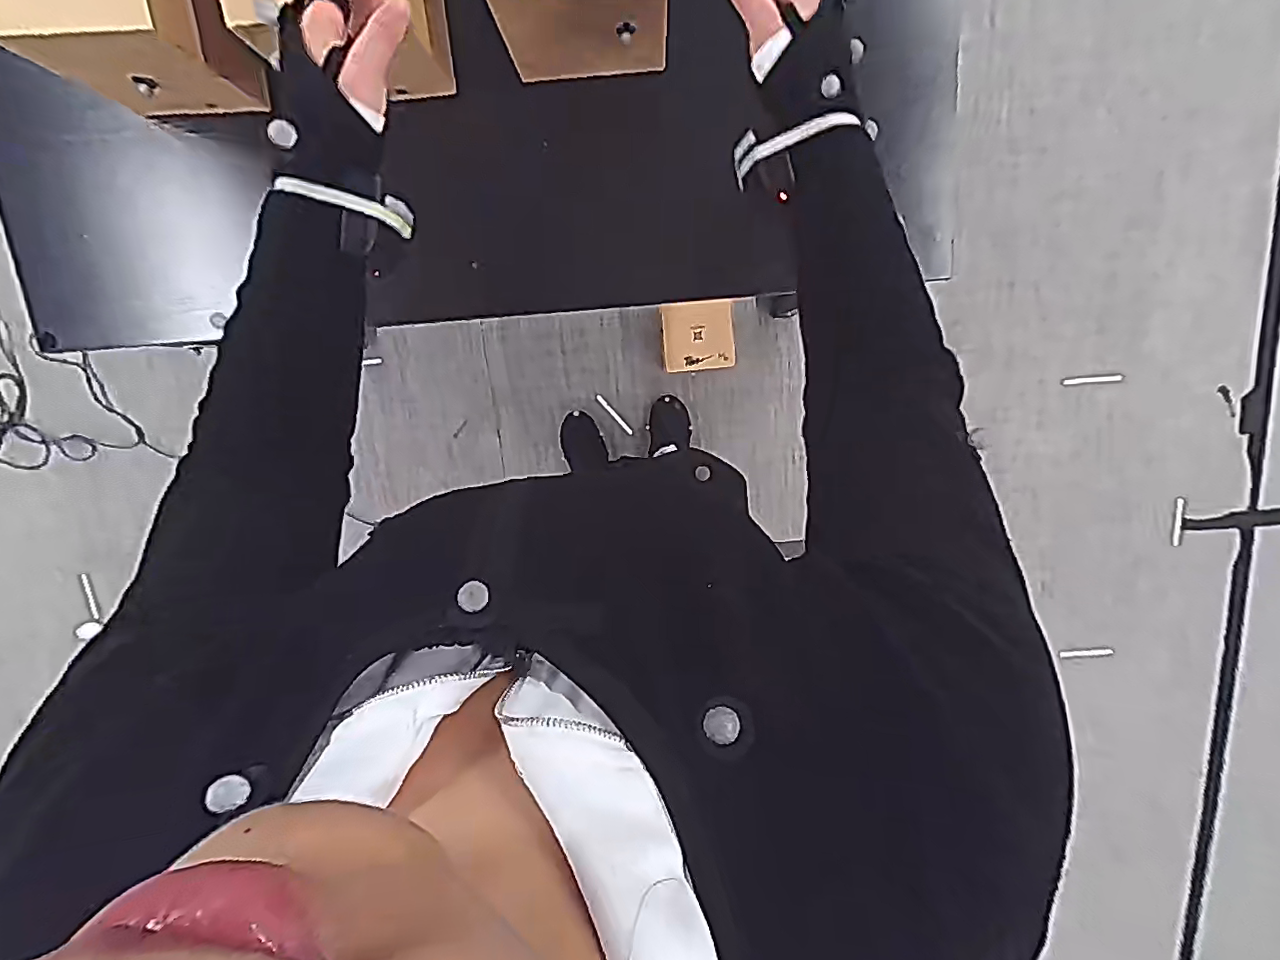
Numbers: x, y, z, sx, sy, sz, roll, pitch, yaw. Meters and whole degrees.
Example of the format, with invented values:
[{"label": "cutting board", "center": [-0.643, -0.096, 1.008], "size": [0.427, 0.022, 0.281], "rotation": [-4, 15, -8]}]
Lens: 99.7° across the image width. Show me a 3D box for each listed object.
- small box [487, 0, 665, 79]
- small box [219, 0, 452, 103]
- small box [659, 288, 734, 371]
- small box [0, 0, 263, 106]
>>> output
[{"label": "small box", "center": [-0.065, -0.553, 0.558], "size": [0.179, 0.176, 0.168], "rotation": [-4, 101, 3]}, {"label": "small box", "center": [-0.312, -0.533, 0.562], "size": [0.168, 0.176, 0.179], "rotation": [-5, 103, 1]}, {"label": "small box", "center": [0.134, -0.364, 1.336], "size": [0.168, 0.176, 0.179], "rotation": [-5, 101, 3]}, {"label": "small box", "center": [-0.537, -0.520, 0.567], "size": [0.168, 0.176, 0.179], "rotation": [-2, 102, 0]}]
